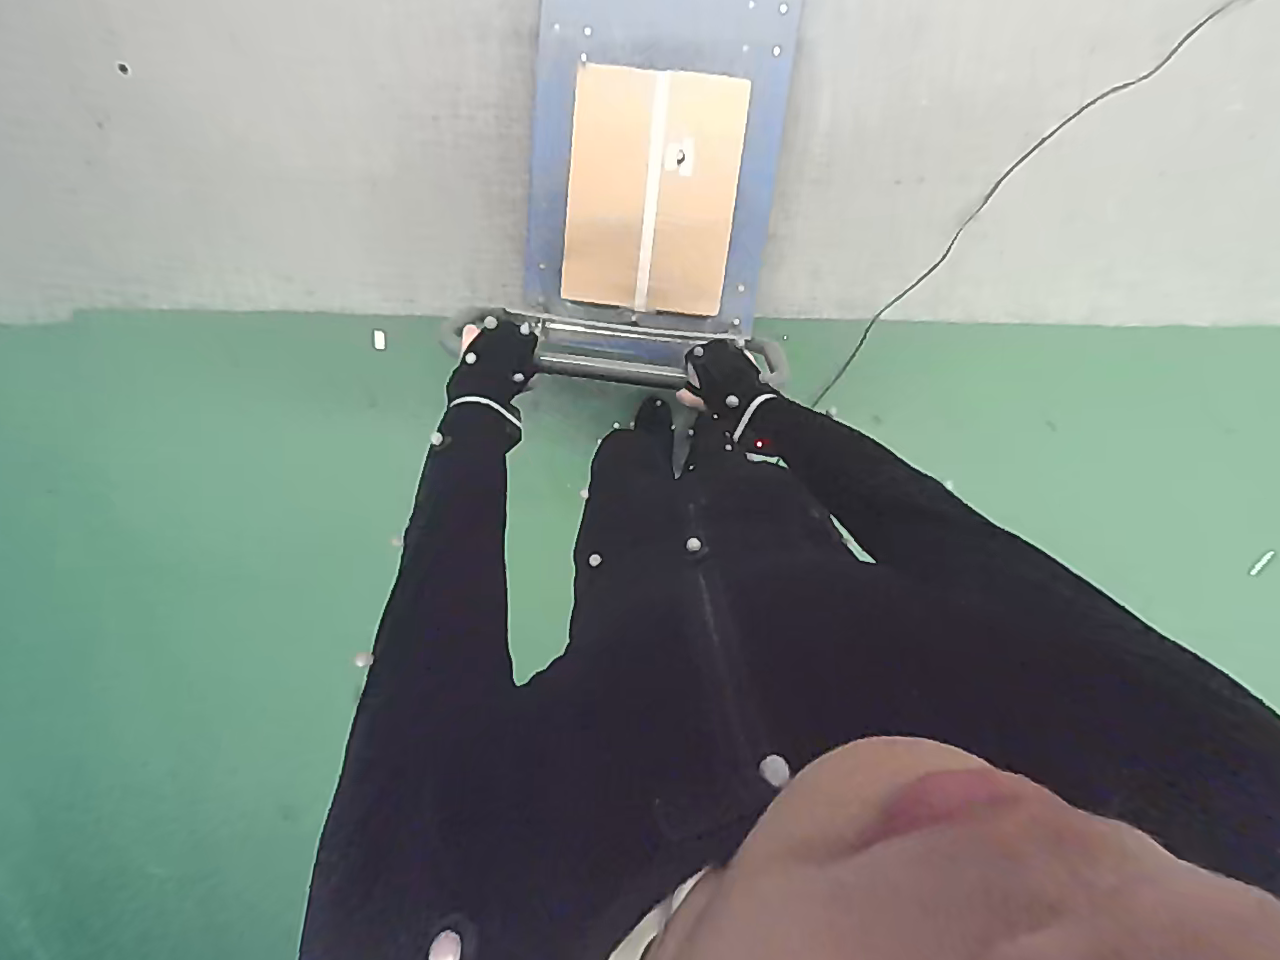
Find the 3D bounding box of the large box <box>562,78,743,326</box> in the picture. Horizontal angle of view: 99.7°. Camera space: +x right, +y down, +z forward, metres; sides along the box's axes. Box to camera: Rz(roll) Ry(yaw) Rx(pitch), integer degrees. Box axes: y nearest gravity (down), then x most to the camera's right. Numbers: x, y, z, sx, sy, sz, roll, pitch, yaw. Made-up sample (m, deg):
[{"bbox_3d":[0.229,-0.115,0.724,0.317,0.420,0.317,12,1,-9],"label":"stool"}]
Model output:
[{"bbox_3d":[0.025,-0.556,1.168,0.320,0.320,0.408,7,104,1],"label":"large box"}]
